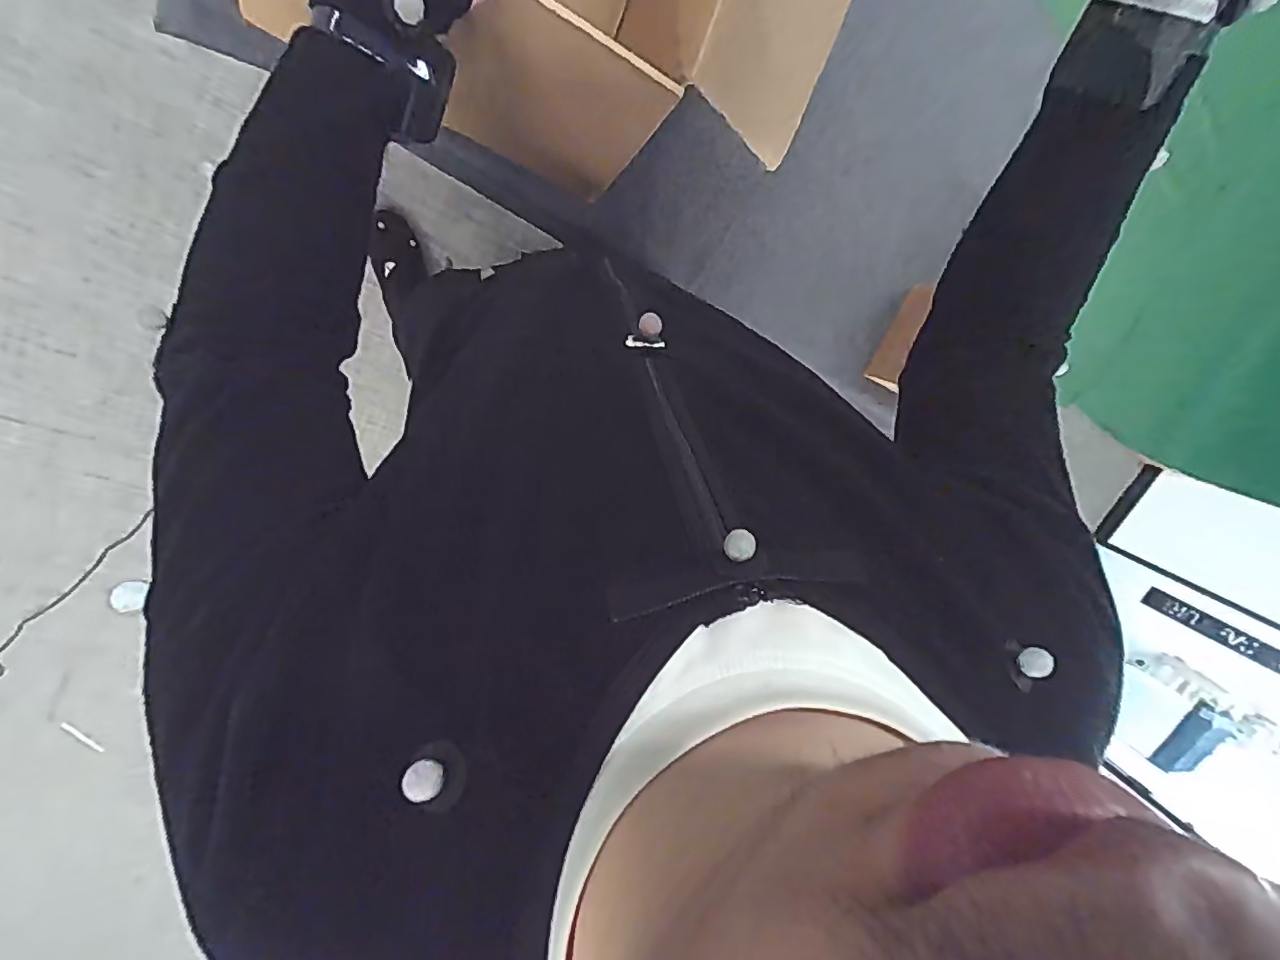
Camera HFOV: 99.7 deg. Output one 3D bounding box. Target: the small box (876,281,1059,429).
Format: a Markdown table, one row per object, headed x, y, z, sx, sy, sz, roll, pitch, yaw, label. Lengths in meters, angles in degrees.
| x | y | z | sx | sy | sz | roll | pitch | yaw | label |
| --- | --- | --- | --- | --- | --- | --- | --- | --- | --- |
| 0.534 | -0.213 | 0.907 | 0.168 | 0.176 | 0.179 | 17 | 106 | -28 | small box |
